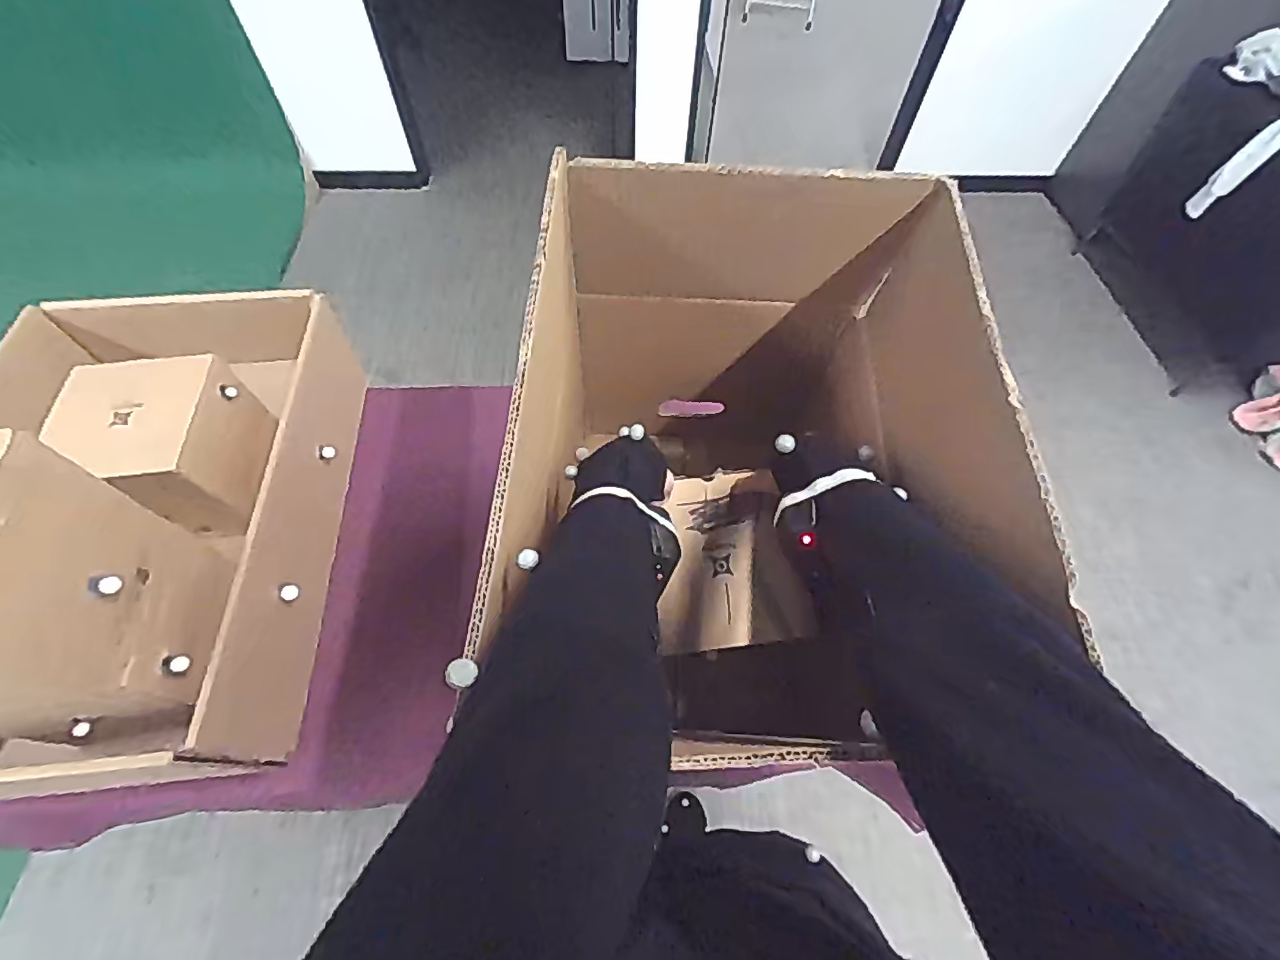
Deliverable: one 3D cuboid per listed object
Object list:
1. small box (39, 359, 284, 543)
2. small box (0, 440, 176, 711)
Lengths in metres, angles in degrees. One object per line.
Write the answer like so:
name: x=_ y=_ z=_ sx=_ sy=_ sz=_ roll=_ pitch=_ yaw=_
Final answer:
small box: x=-0.598 y=-0.027 z=0.697 sx=0.168 sy=0.176 sz=0.179 roll=-7 pitch=59 yaw=-4
small box: x=-0.544 y=0.087 z=0.434 sx=0.179 sy=0.176 sz=0.168 roll=-4 pitch=59 yaw=-3
